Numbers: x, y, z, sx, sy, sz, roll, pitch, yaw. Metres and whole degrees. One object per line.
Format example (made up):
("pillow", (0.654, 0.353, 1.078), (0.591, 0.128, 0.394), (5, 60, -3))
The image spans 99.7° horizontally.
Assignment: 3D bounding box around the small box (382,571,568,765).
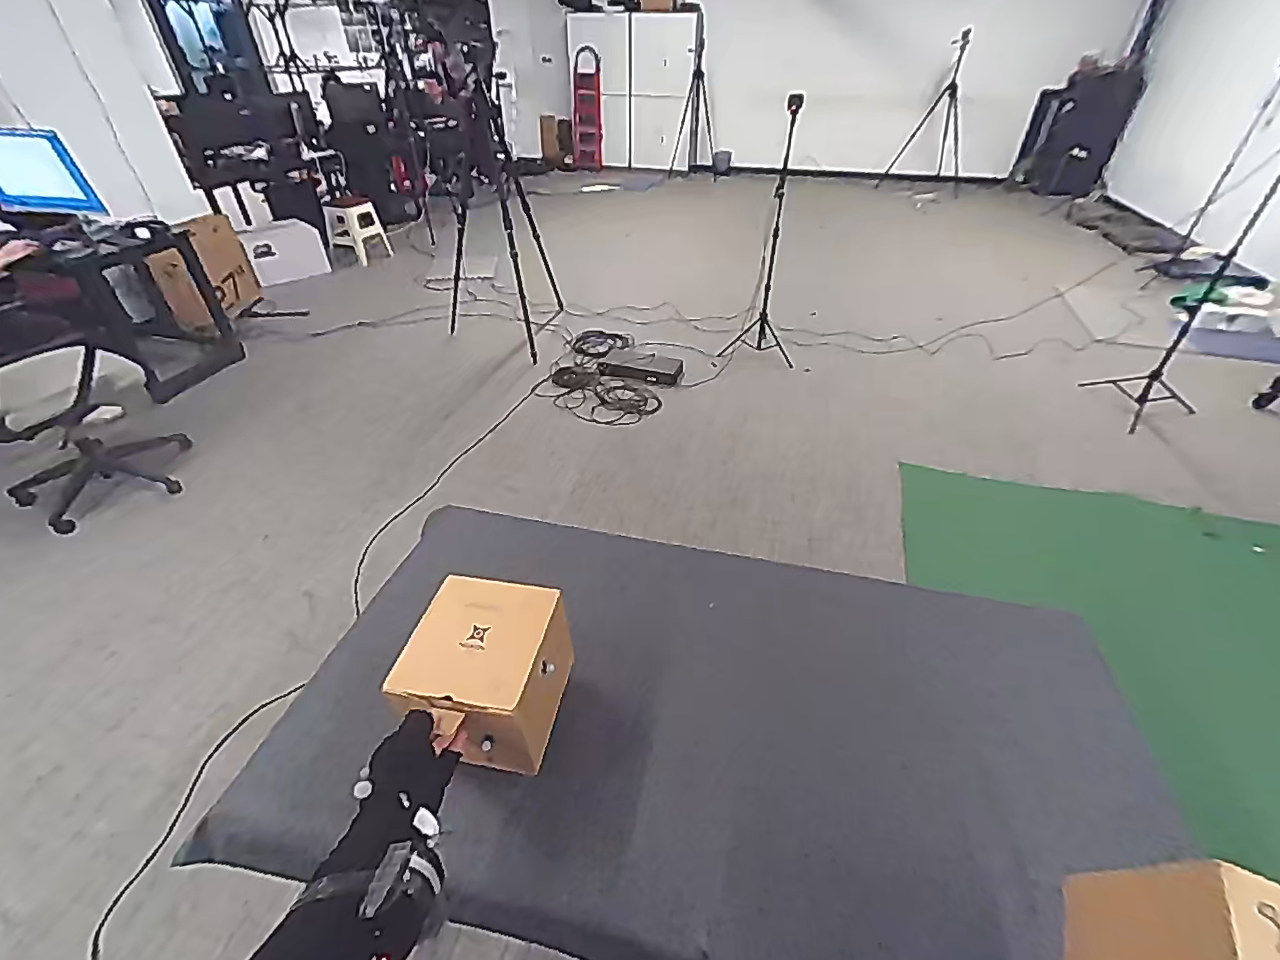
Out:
("small box", (-0.200, 0.250, 0.720), (0.168, 0.176, 0.179), (6, 40, 8))
